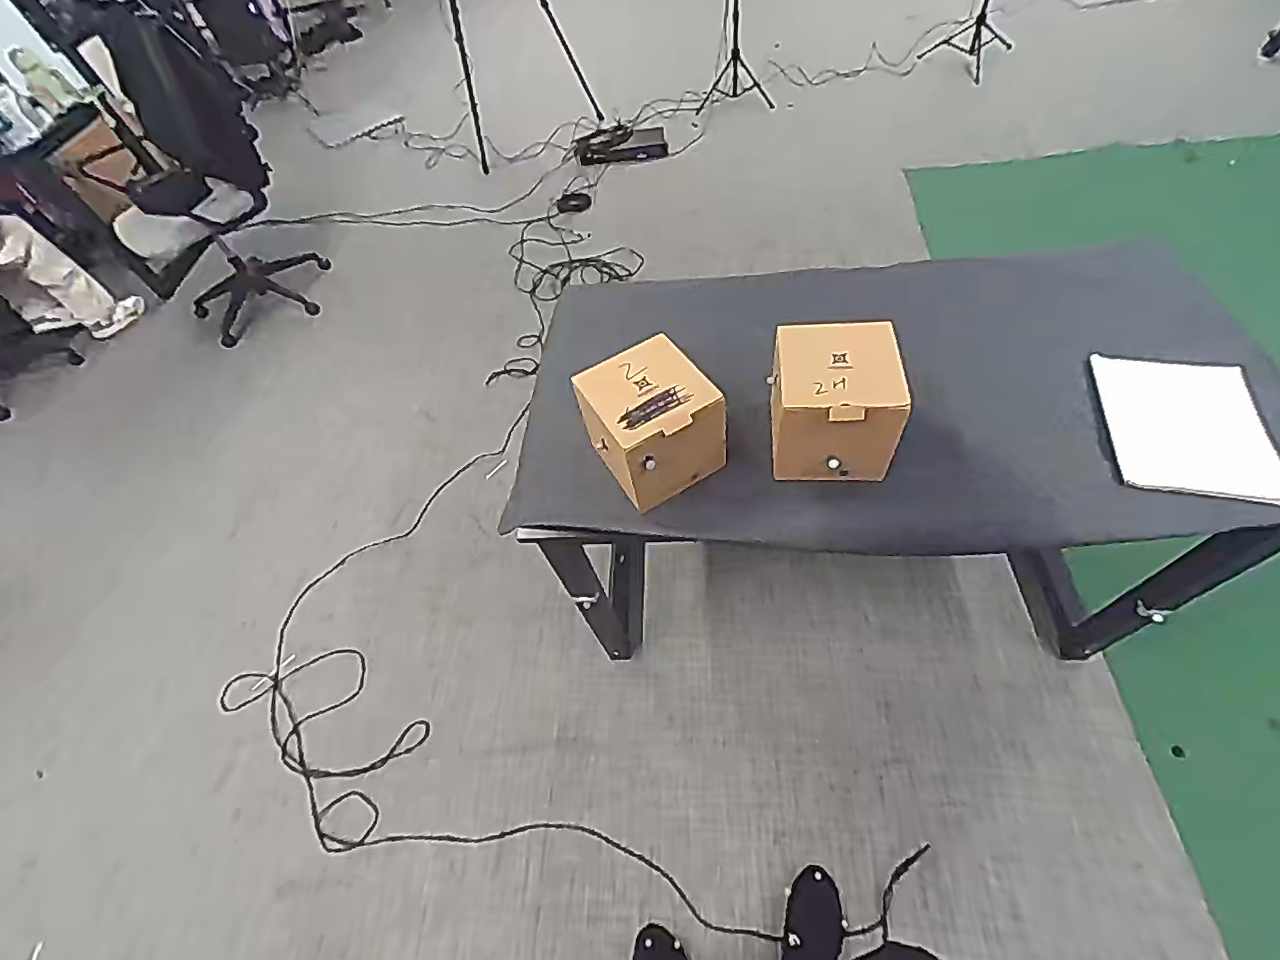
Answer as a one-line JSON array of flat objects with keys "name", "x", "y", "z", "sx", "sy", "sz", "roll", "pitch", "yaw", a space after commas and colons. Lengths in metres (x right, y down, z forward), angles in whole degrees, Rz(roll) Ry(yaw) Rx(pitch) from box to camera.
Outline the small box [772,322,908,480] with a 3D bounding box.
[{"name": "small box", "x": 0.293, "y": -0.119, "z": 0.833, "sx": 0.168, "sy": 0.176, "sz": 0.179, "roll": 0, "pitch": 55, "yaw": 11}]
